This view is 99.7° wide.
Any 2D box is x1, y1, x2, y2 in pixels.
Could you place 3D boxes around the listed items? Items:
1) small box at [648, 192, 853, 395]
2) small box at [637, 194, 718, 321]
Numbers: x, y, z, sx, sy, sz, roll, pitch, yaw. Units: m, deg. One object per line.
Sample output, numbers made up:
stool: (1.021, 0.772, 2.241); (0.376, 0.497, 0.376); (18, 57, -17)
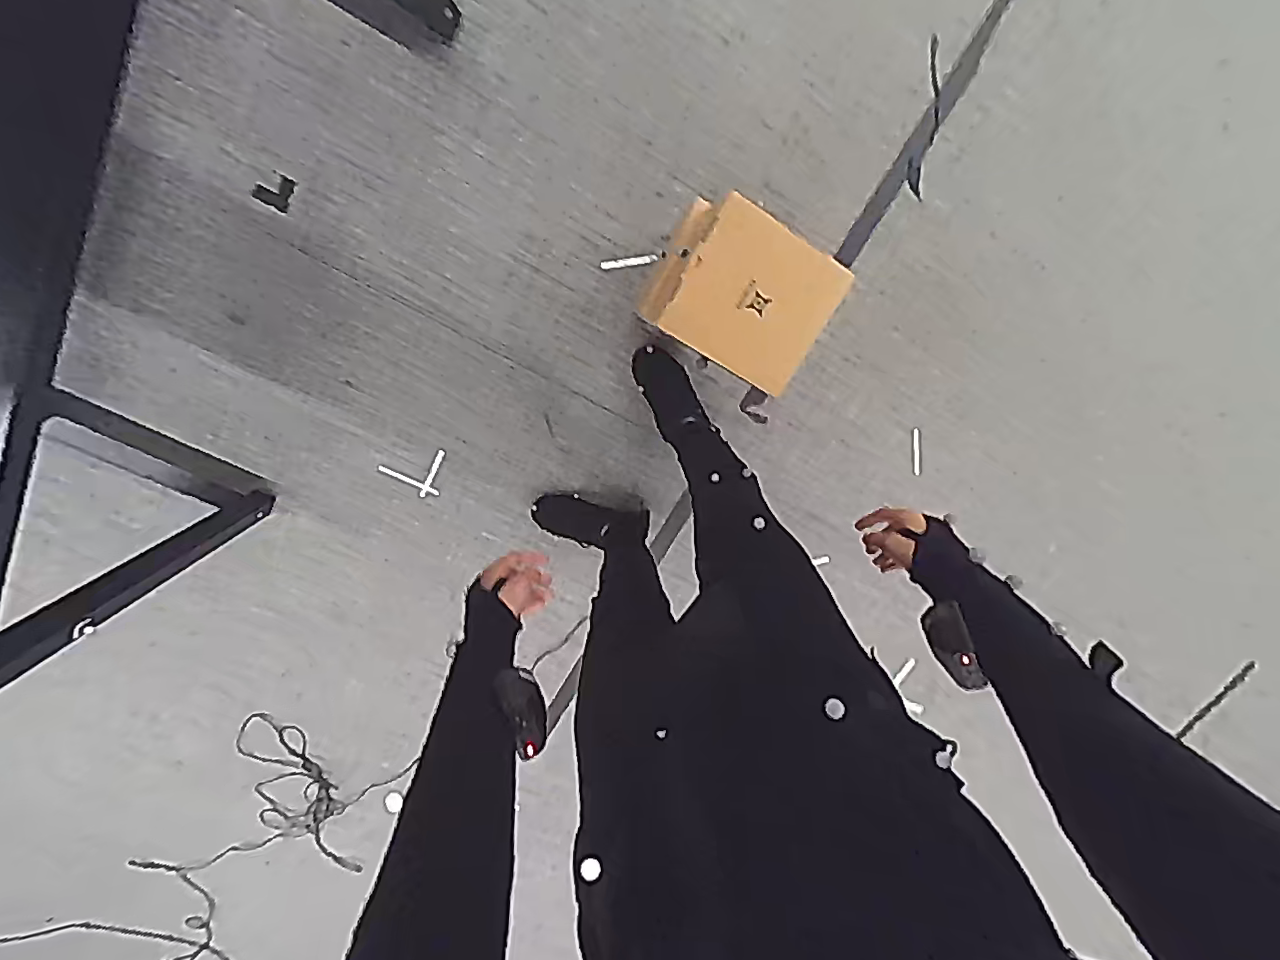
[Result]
small box: (0.126, -0.234, 0.692); (0.179, 0.176, 0.168); (28, 106, -12)
small box: (0.104, -0.305, 0.838); (0.168, 0.176, 0.179); (25, 106, -12)
